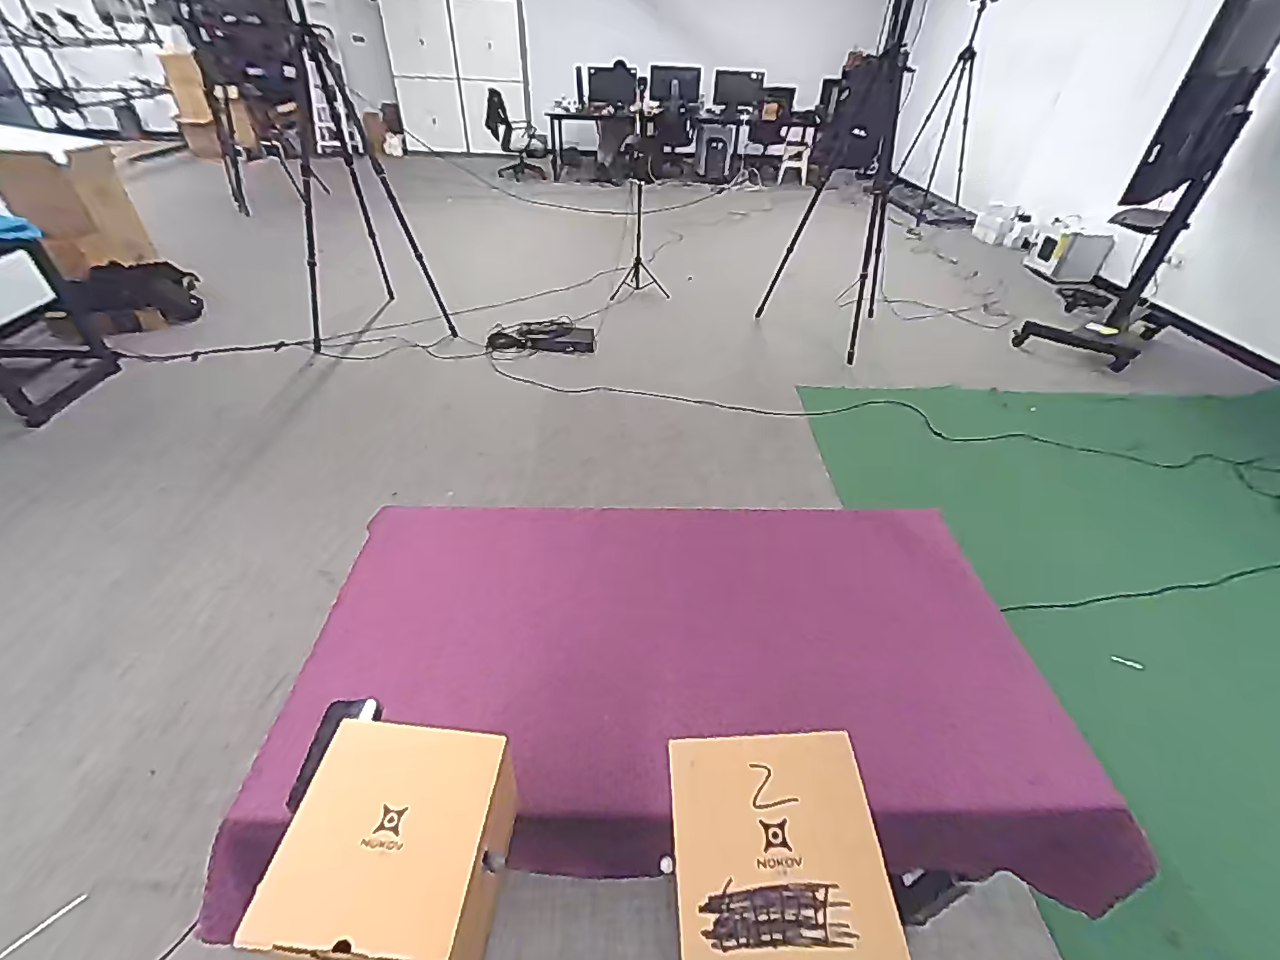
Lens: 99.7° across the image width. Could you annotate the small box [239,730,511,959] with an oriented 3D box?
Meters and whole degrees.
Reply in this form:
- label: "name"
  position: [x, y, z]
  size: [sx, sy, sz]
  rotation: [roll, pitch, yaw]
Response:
- label: "small box"
  position: [-0.227, 0.374, 0.524]
  size: [0.168, 0.176, 0.179]
  rotation: [6, 41, 0]
